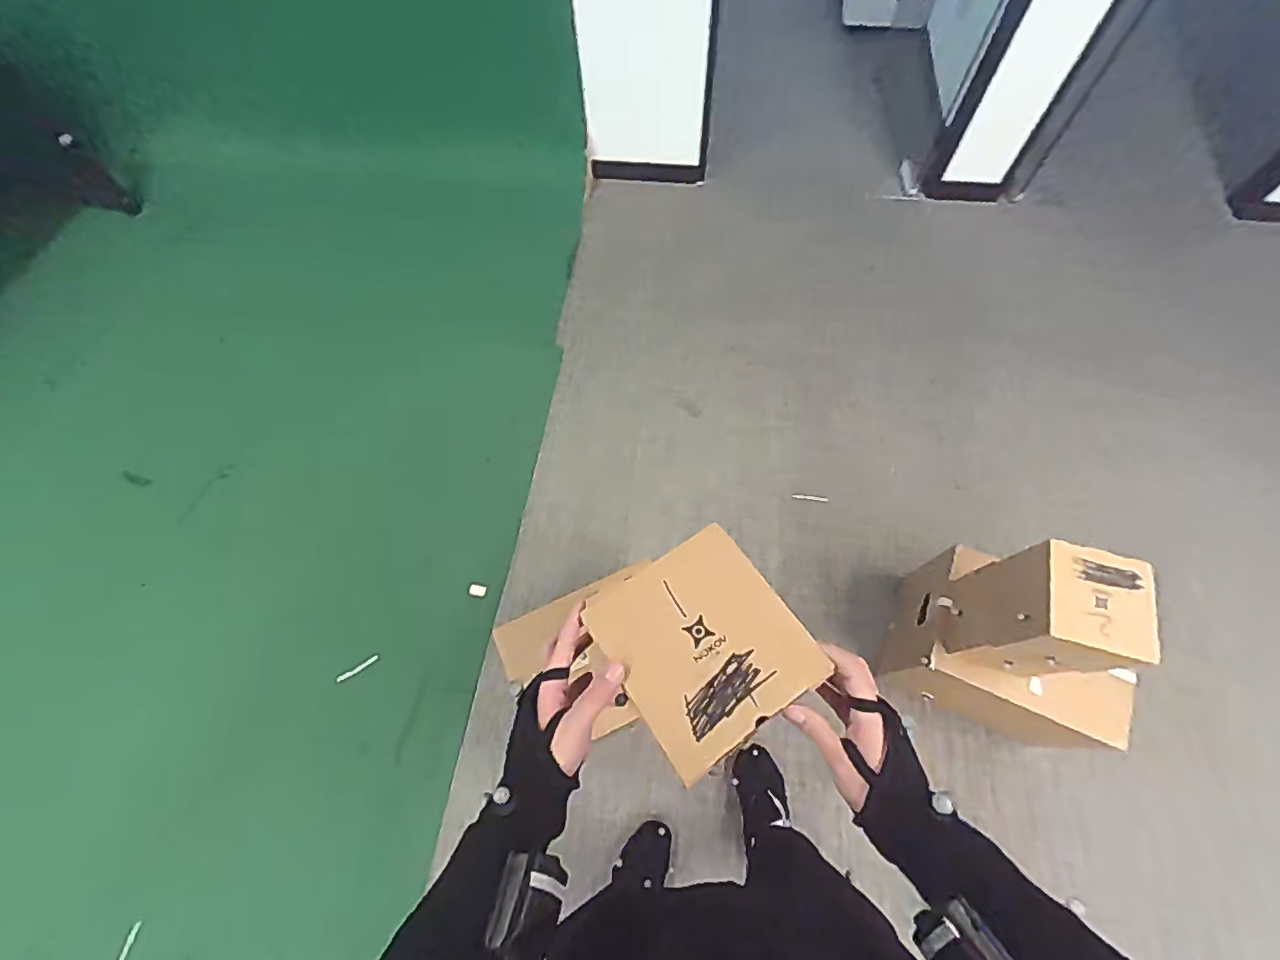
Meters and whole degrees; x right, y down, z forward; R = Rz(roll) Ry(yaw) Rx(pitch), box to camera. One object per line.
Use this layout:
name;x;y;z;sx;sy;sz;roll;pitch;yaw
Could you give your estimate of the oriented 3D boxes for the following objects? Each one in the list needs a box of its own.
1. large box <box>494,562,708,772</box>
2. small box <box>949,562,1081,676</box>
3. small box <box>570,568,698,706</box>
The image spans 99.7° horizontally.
large box;-0.085;0.461;1.336;0.408;0.320;0.320;-24;65;-9
small box;0.767;0.294;1.121;0.168;0.176;0.179;16;67;8
small box;-0.012;0.285;0.964;0.168;0.176;0.179;-23;67;-8
